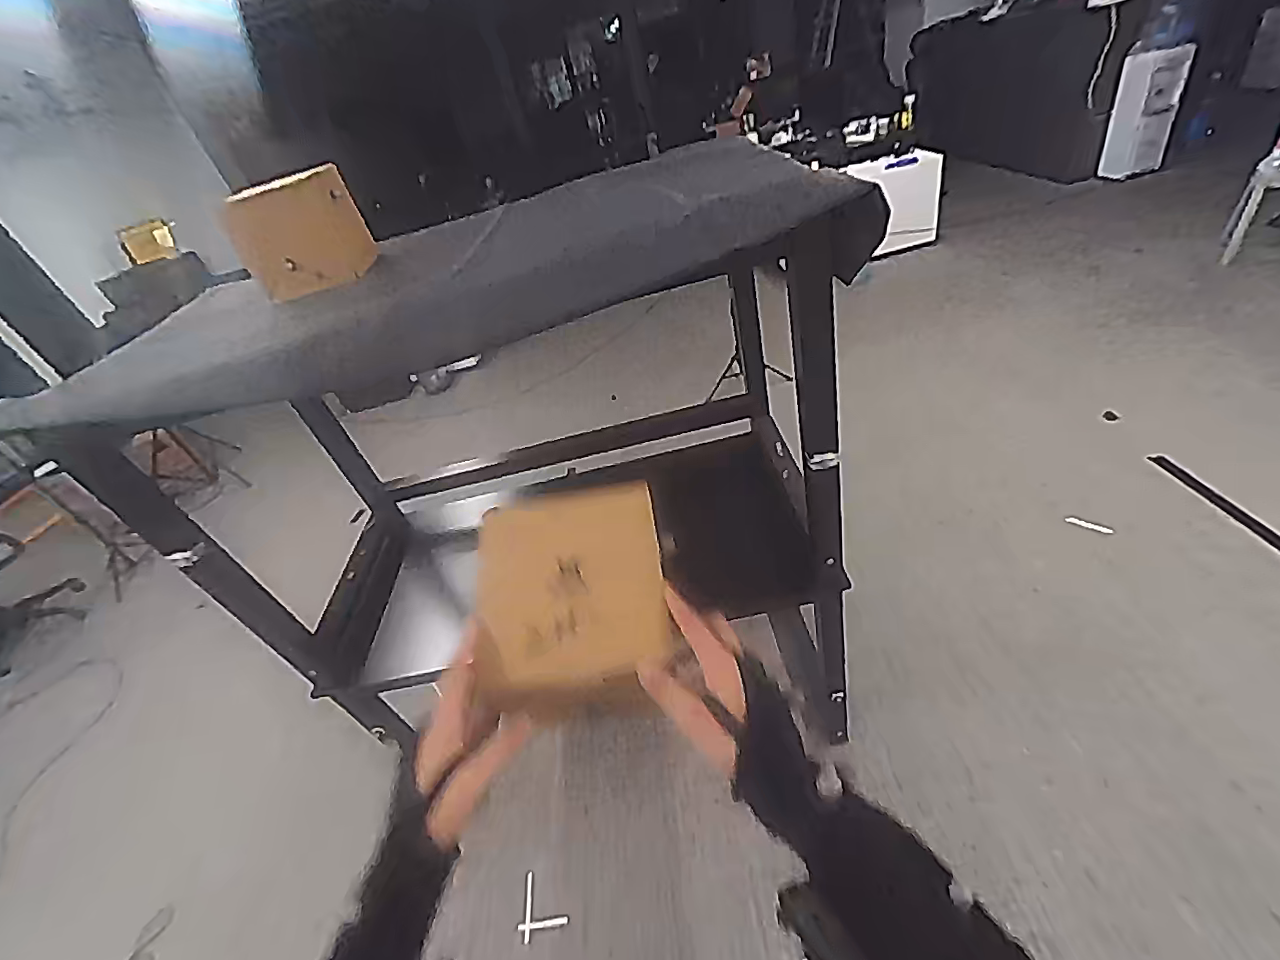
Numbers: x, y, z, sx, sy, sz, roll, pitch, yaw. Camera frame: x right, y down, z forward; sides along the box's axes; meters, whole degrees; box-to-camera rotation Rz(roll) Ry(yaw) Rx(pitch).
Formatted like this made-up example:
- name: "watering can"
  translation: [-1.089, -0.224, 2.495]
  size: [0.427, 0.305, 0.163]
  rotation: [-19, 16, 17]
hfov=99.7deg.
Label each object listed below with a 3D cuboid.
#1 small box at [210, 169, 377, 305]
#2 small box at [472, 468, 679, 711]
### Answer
- name: "small box"
  translation: [-0.605, -0.437, 0.976]
  size: [0.168, 0.176, 0.179]
  rotation: [-17, 38, 1]
- name: "small box"
  translation: [-0.055, 0.113, 0.534]
  size: [0.168, 0.176, 0.179]
  rotation: [-8, 58, 0]
